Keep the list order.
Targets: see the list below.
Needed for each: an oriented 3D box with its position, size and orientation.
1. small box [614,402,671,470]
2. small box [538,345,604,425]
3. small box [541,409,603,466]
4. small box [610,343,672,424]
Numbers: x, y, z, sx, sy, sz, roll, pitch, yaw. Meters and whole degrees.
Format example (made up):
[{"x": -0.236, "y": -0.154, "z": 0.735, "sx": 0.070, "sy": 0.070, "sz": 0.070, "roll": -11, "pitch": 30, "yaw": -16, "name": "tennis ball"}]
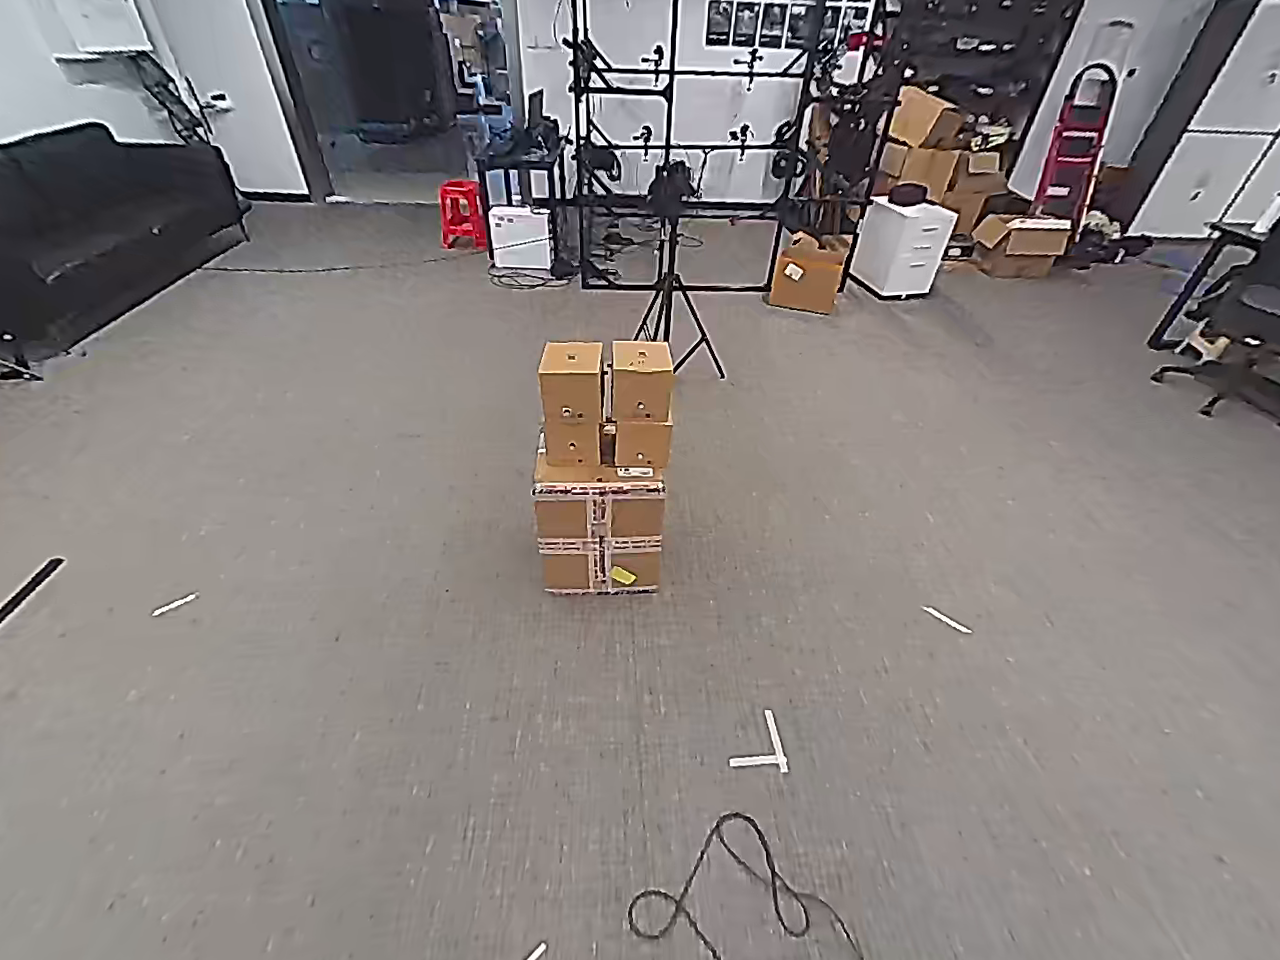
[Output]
[{"x": 0.005, "y": -0.151, "z": 1.678, "sx": 0.168, "sy": 0.176, "sz": 0.179, "roll": 2, "pitch": 42, "yaw": -3, "name": "small box"}, {"x": -0.191, "y": -0.275, "z": 1.558, "sx": 0.168, "sy": 0.176, "sz": 0.179, "roll": -1, "pitch": 42, "yaw": 0, "name": "small box"}, {"x": -0.204, "y": -0.156, "z": 1.671, "sx": 0.168, "sy": 0.176, "sz": 0.179, "roll": 0, "pitch": 42, "yaw": 0, "name": "small box"}, {"x": -0.003, "y": -0.284, "z": 1.579, "sx": 0.168, "sy": 0.176, "sz": 0.179, "roll": 0, "pitch": 41, "yaw": -4, "name": "small box"}]
